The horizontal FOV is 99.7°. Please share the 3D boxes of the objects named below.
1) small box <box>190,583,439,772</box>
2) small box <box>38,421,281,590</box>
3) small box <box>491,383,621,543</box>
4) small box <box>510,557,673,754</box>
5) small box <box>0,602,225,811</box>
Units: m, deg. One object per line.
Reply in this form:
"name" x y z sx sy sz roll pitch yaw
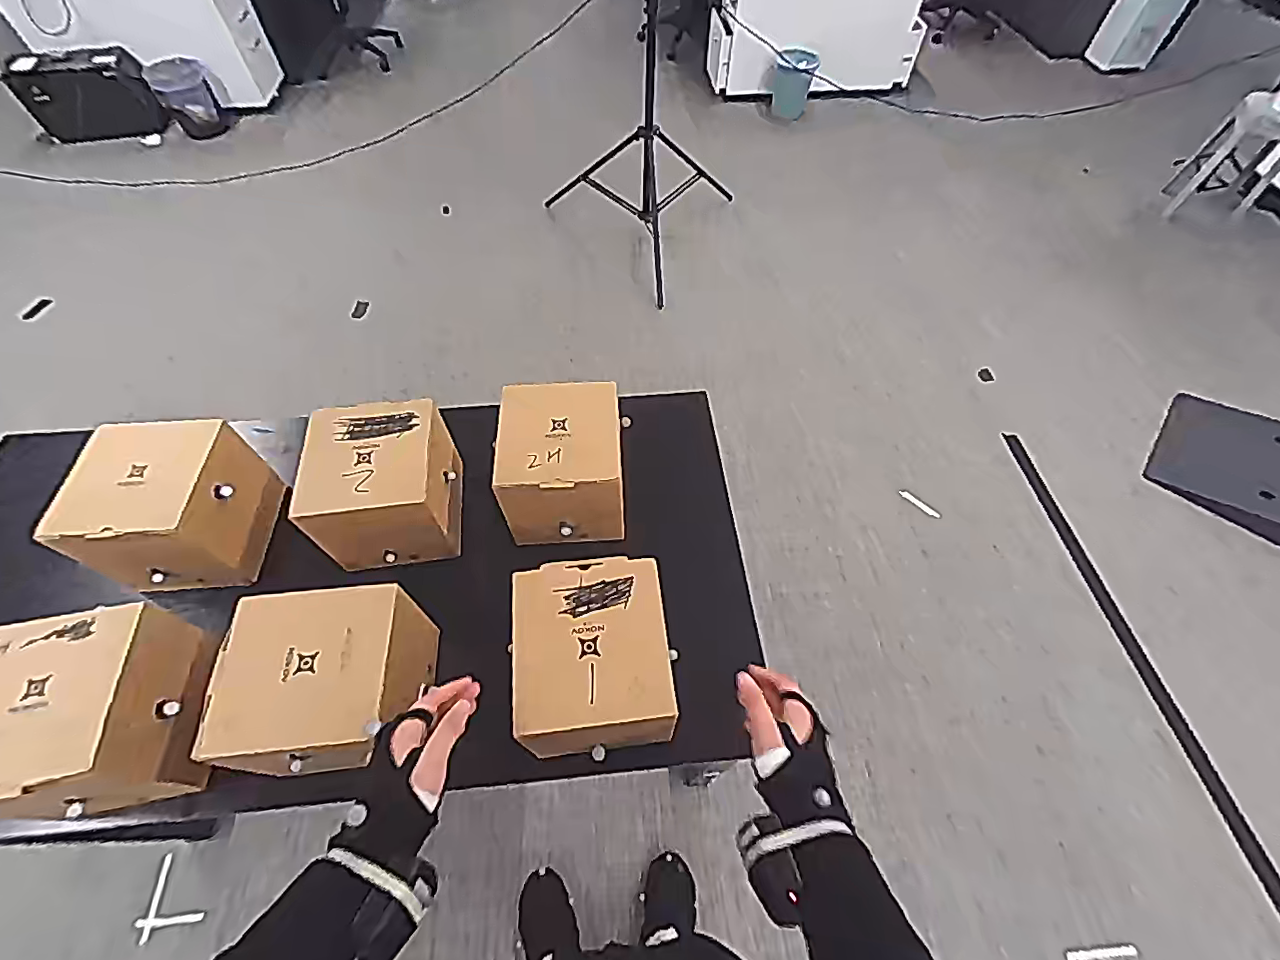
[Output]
"small box" -0.355 0.236 0.634 0.179 0.176 0.168 -4 57 -4
"small box" -0.646 0.038 0.762 0.168 0.176 0.179 -3 57 -3
"small box" -0.115 -0.023 0.806 0.168 0.176 0.179 -3 57 -2
"small box" -0.057 0.214 0.648 0.168 0.176 0.179 -6 57 -4
"small box" -0.611 0.262 0.612 0.168 0.176 0.179 -9 57 -7
